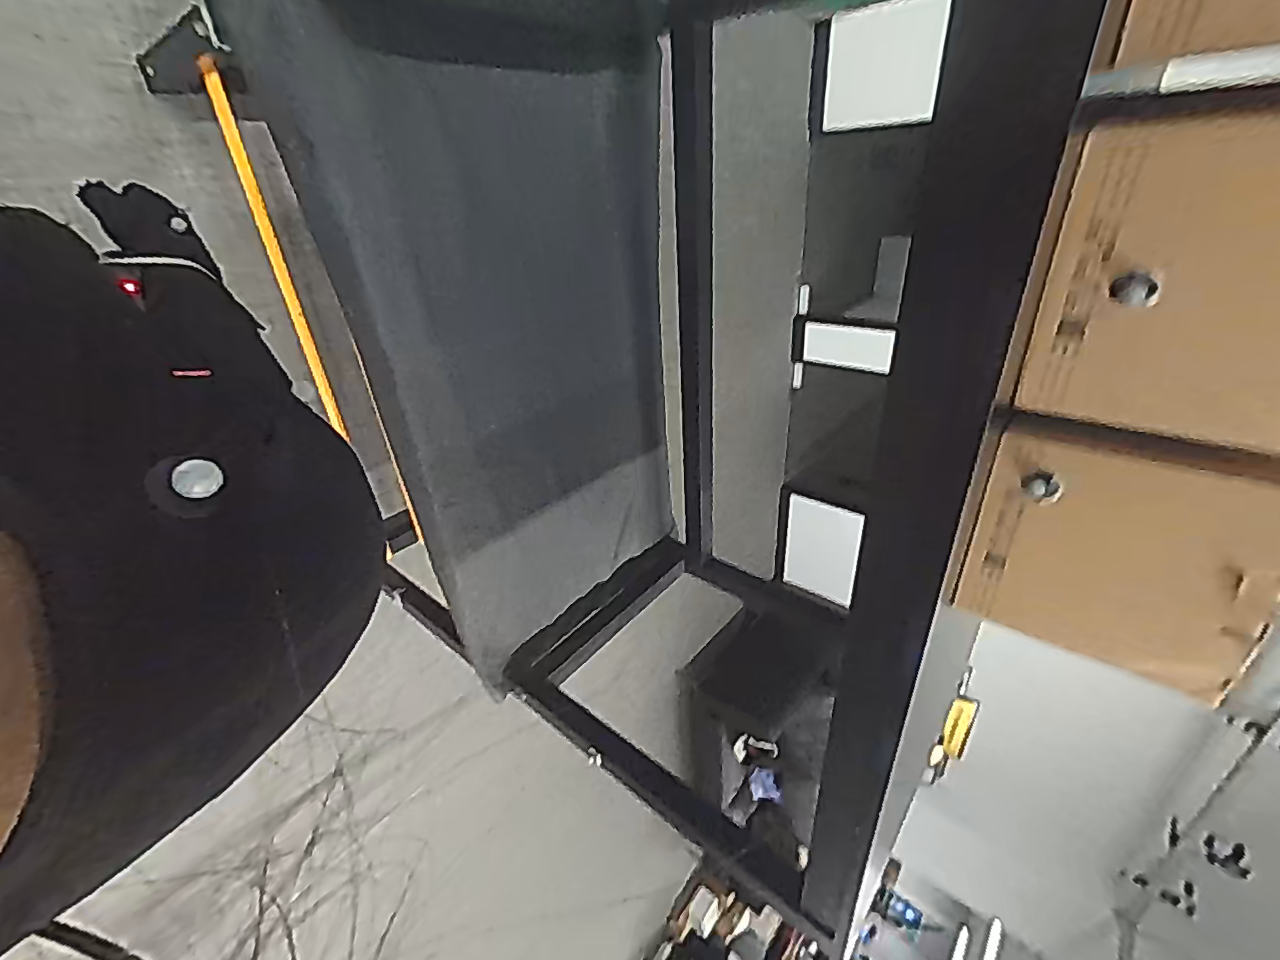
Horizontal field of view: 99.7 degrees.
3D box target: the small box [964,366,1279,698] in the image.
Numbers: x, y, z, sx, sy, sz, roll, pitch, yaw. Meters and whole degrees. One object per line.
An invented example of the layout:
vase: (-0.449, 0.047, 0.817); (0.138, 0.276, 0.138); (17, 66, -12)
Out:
small box: (0.373, 0.020, 0.418); (0.179, 0.176, 0.168); (-30, 129, -42)
